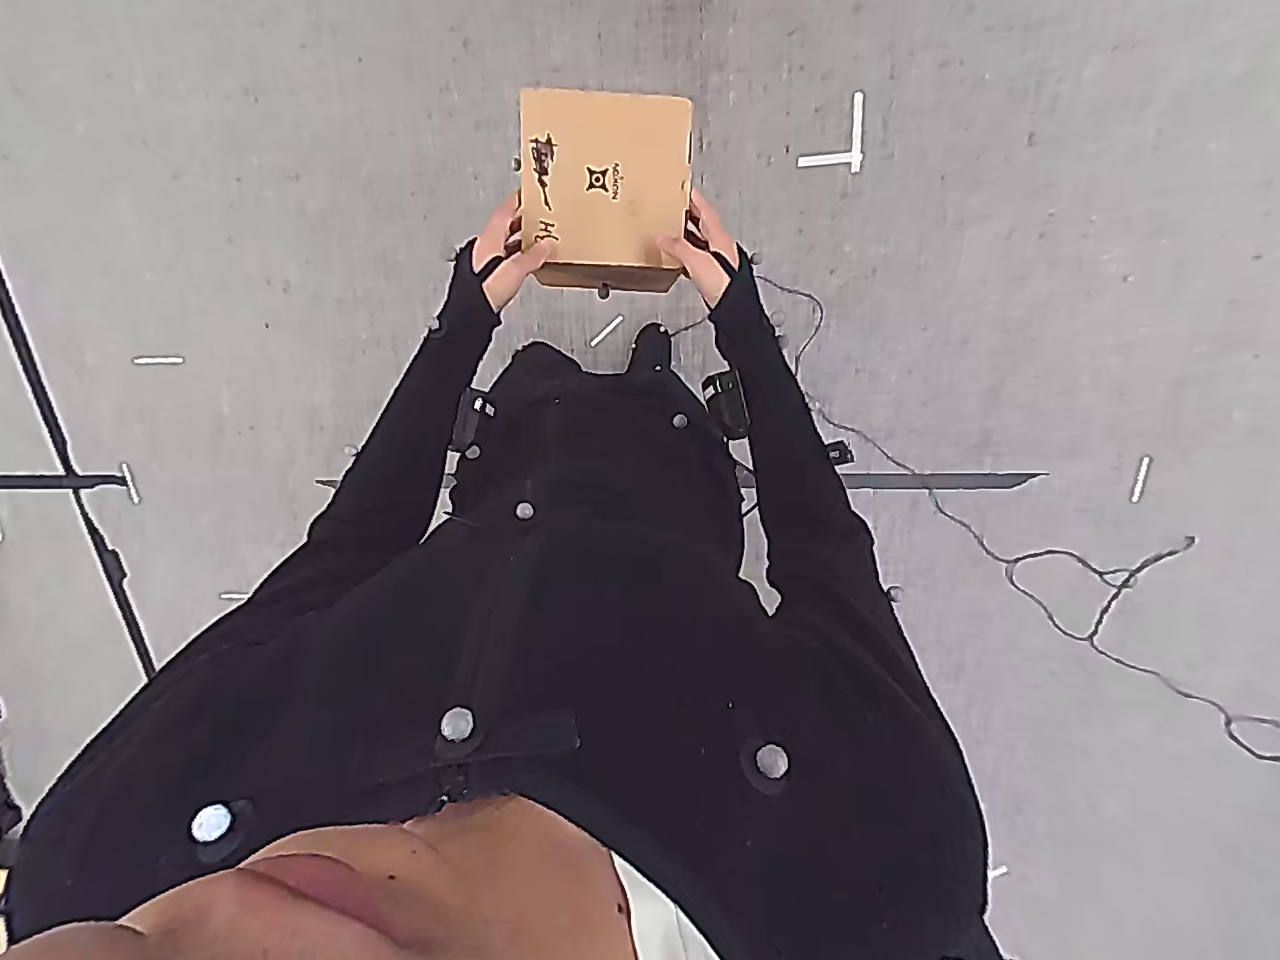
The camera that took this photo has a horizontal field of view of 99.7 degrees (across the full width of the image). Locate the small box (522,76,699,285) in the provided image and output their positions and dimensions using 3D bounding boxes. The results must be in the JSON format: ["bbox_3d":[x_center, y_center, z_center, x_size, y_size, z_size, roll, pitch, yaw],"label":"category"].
[{"bbox_3d":[-0.038,-0.329,0.631,0.179,0.176,0.168,3,101,-5],"label":"small box"}]
